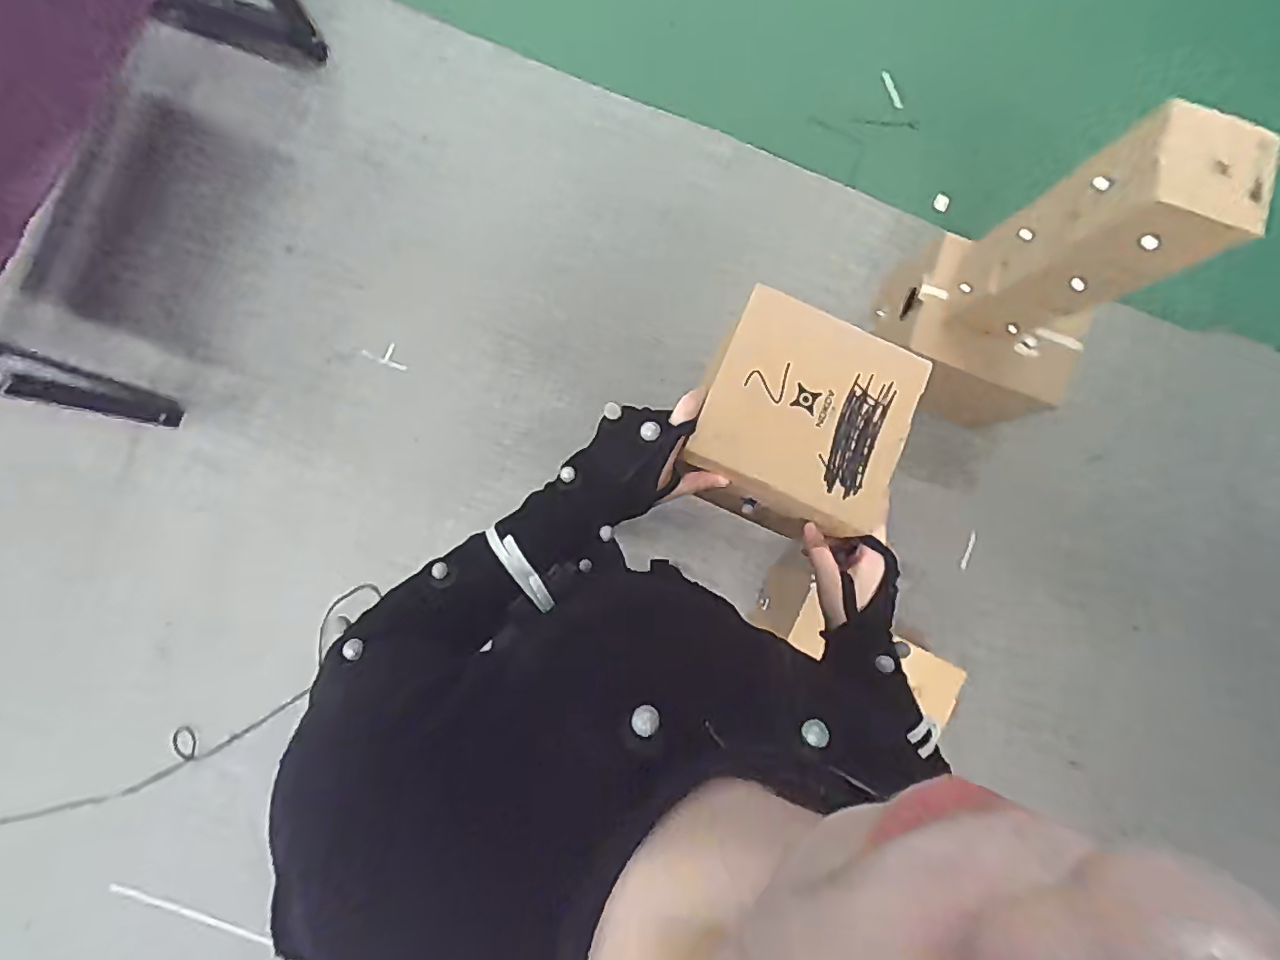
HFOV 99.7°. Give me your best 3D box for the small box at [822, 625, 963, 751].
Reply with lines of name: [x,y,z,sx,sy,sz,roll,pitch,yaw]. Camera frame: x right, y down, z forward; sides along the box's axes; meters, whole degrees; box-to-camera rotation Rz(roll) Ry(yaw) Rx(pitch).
small box: [0.511,0.418,1.122,0.179,0.176,0.168,28,85,-3]

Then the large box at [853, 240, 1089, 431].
large box: [0.855,-0.362,1.442,0.408,0.320,0.320,21,85,-3]

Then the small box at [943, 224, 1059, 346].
small box: [0.809,-0.420,1.198,0.168,0.176,0.179,20,84,-2]

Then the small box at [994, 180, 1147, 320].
small box: [0.825,-0.428,1.036,0.179,0.176,0.168,16,86,-3]

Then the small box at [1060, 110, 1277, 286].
small box: [0.833,-0.439,0.871,0.179,0.176,0.168,18,85,-2]
